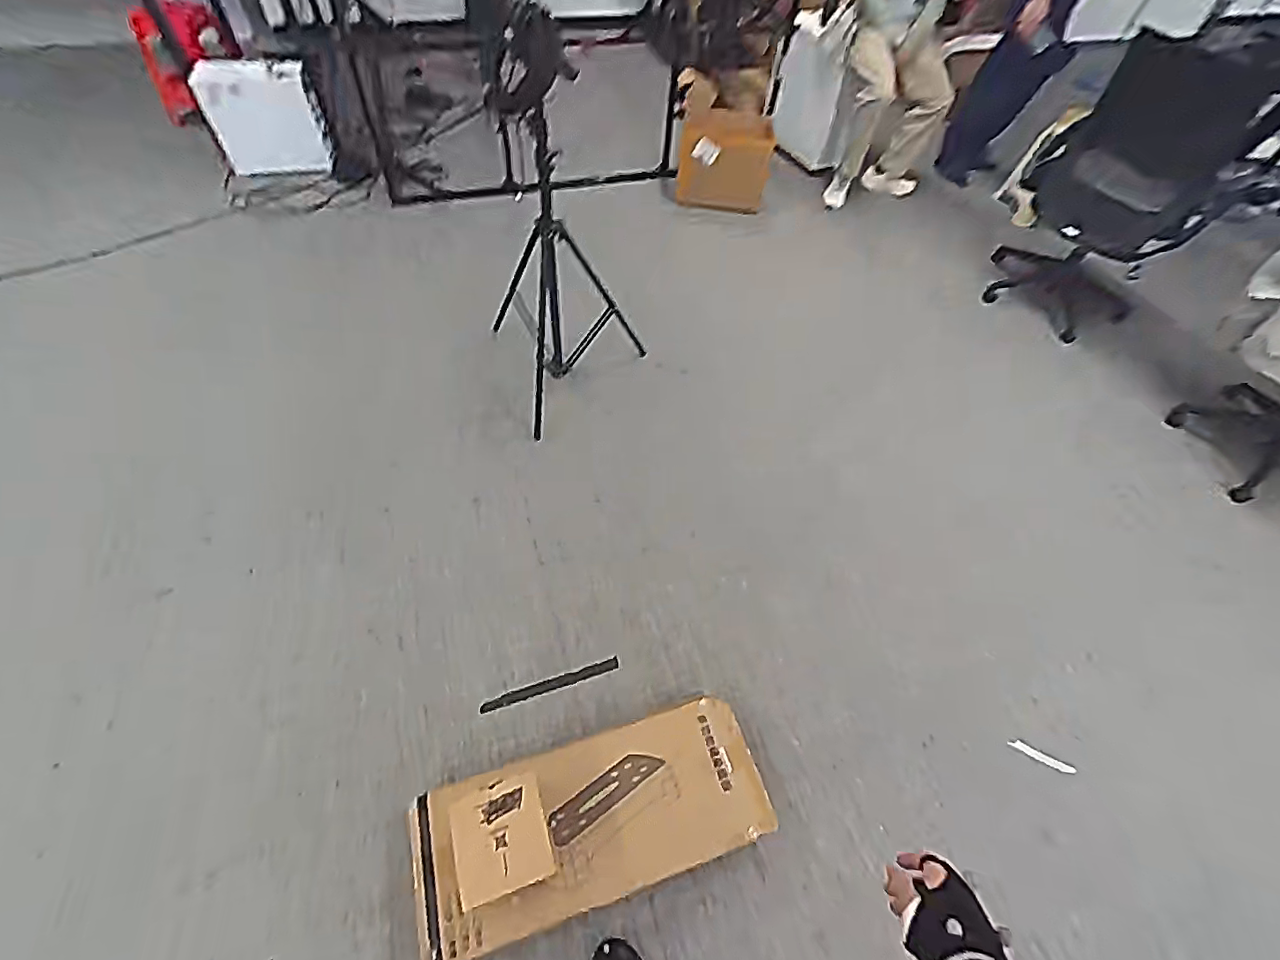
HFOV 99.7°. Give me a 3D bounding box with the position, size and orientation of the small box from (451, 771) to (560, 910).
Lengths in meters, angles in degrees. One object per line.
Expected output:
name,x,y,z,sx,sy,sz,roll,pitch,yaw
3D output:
small box,-0.256,0.697,1.048,0.168,0.176,0.179,-14,57,-15
